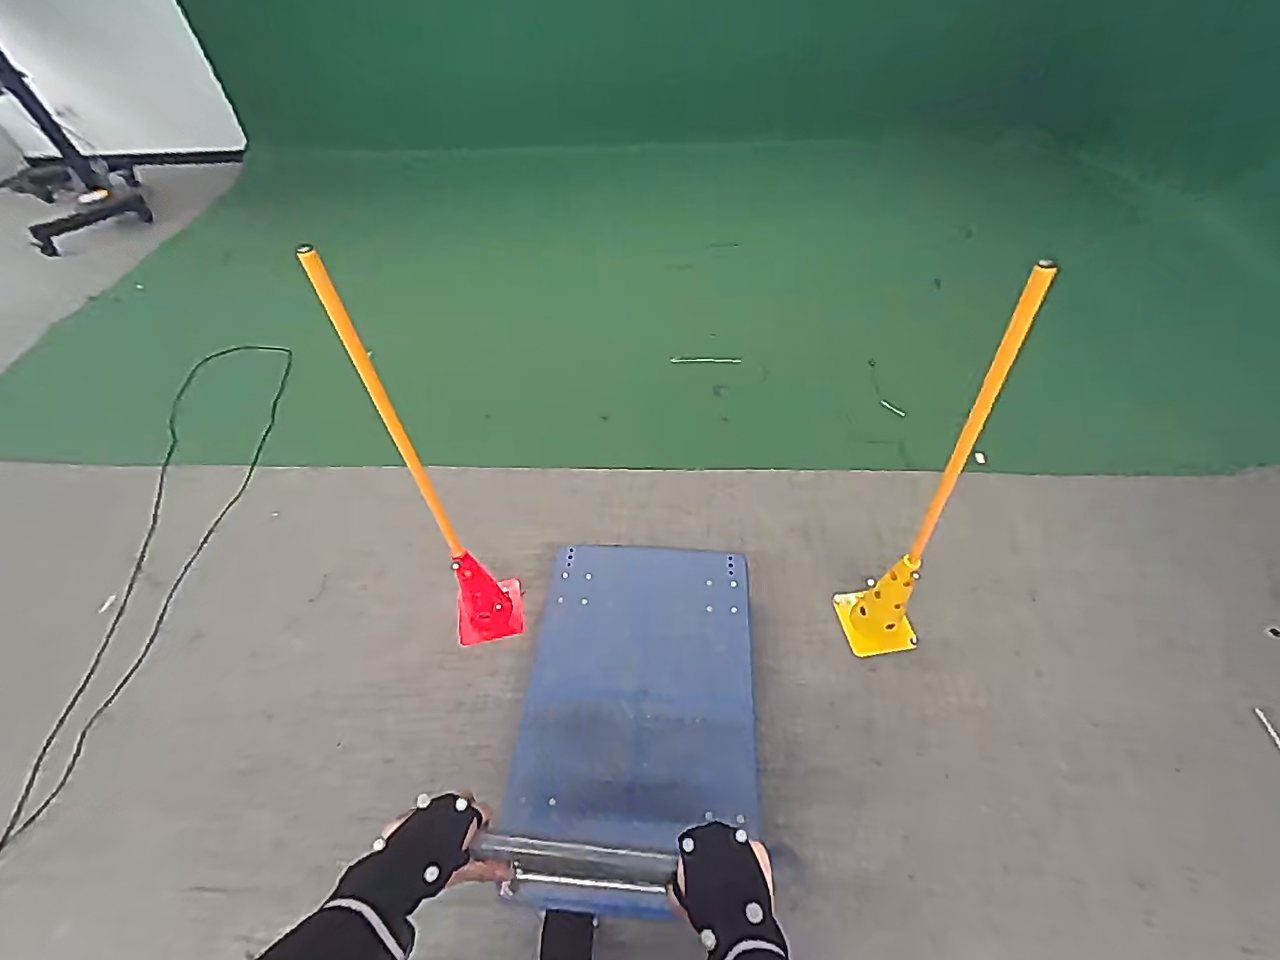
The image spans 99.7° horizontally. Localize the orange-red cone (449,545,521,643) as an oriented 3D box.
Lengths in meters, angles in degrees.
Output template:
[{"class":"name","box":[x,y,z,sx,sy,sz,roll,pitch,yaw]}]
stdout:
[{"class":"orange-red cone","box":[-0.484,0.301,1.570,0.199,0.360,0.198,-11,51,-5]}]
